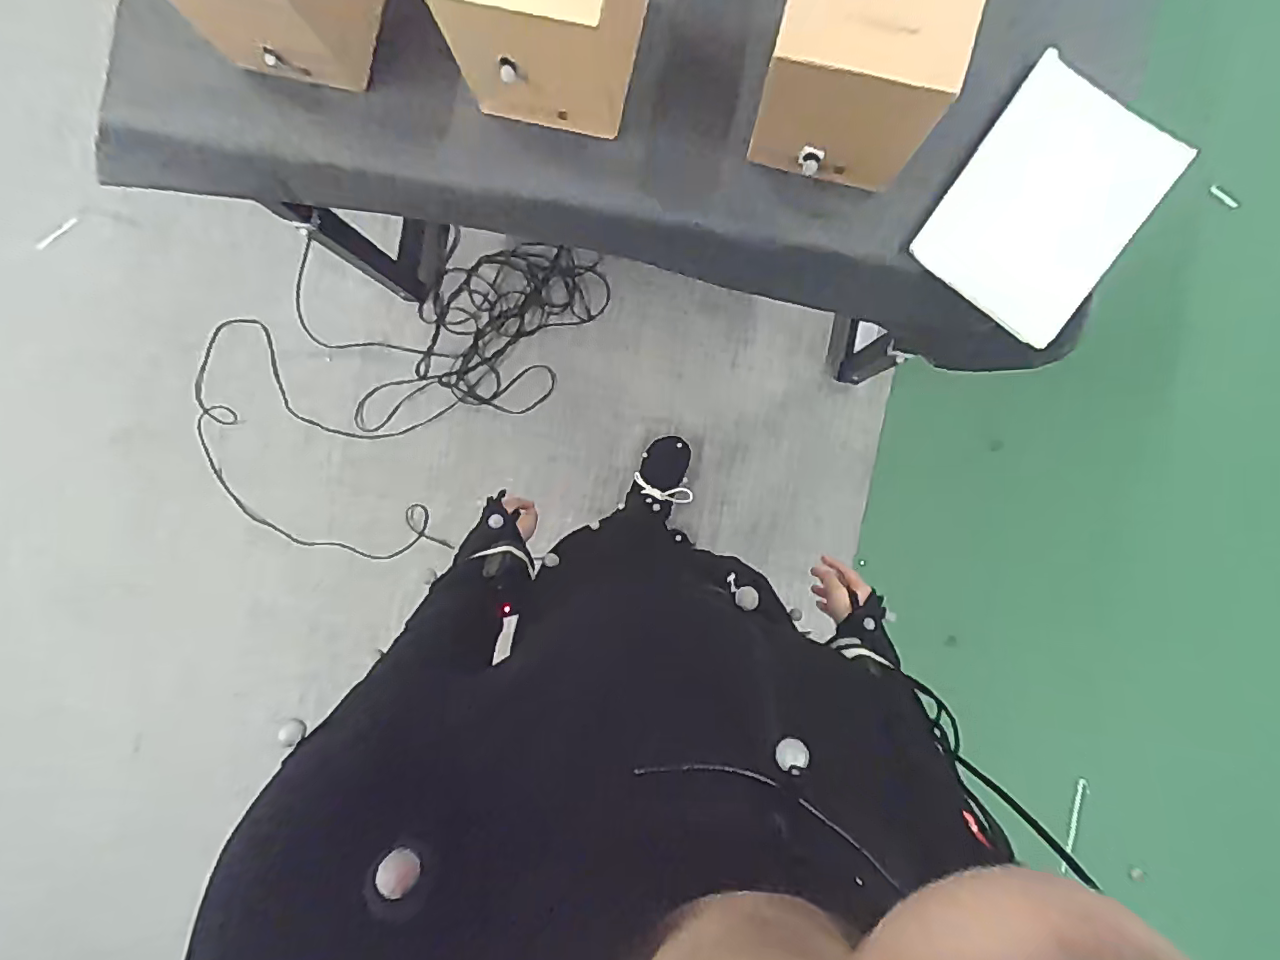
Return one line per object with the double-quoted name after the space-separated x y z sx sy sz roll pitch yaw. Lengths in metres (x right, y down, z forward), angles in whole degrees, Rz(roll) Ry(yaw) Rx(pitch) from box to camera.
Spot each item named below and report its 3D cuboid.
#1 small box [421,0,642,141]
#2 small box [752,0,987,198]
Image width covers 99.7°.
-0.095 -0.492 0.557 0.168 0.176 0.179 13 90 3 "small box"
0.220 -0.425 0.544 0.168 0.176 0.179 14 92 4 "small box"
